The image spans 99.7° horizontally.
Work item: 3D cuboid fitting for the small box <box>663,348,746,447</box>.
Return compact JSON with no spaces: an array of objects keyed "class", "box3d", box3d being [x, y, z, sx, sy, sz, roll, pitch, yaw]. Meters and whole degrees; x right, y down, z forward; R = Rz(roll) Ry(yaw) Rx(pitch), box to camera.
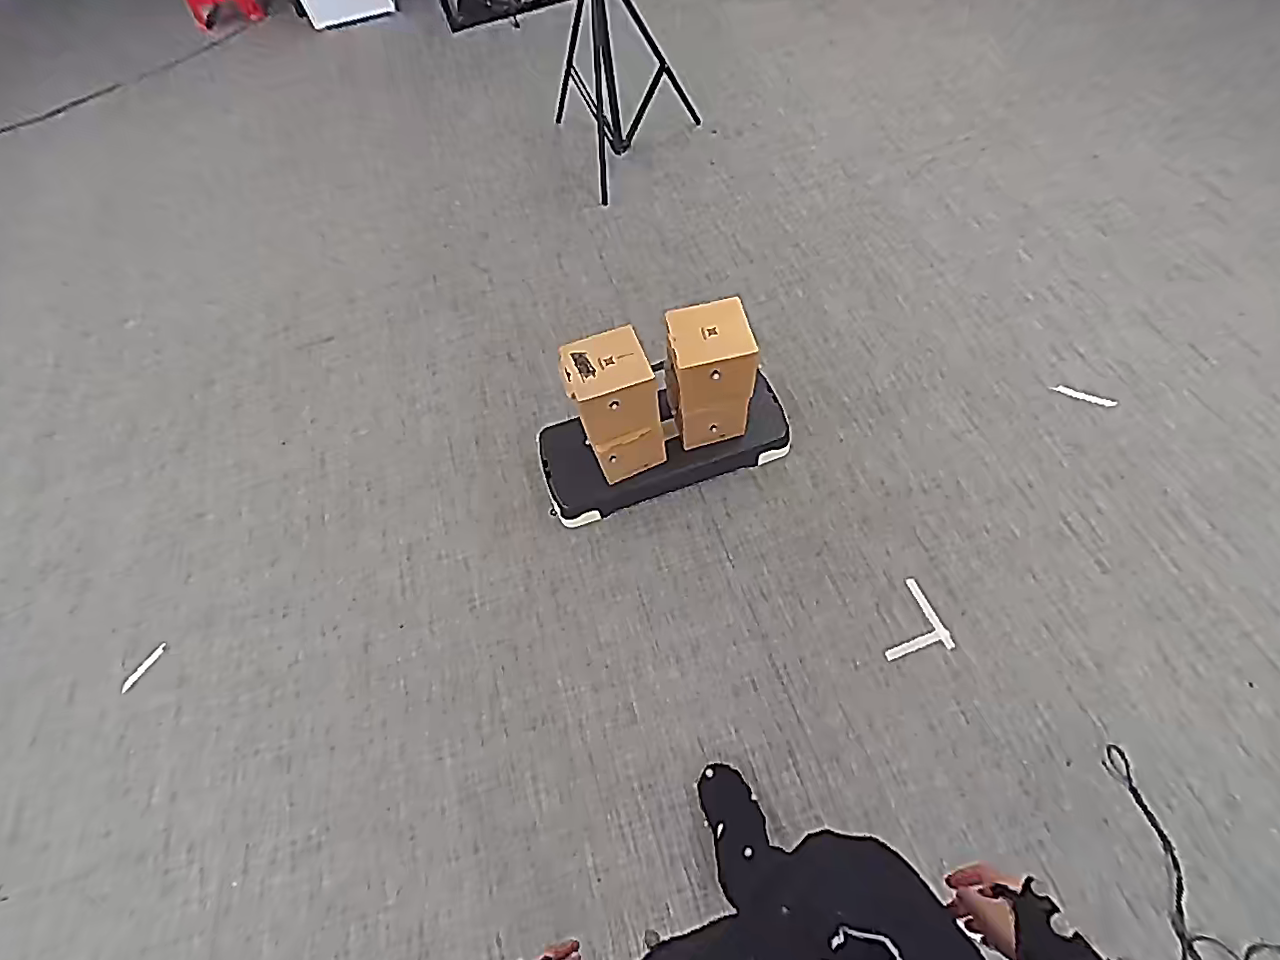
[{"class":"small box","box3d":[0.165,-0.203,1.388,0.168,0.176,0.179,-15,62,-1]}]
